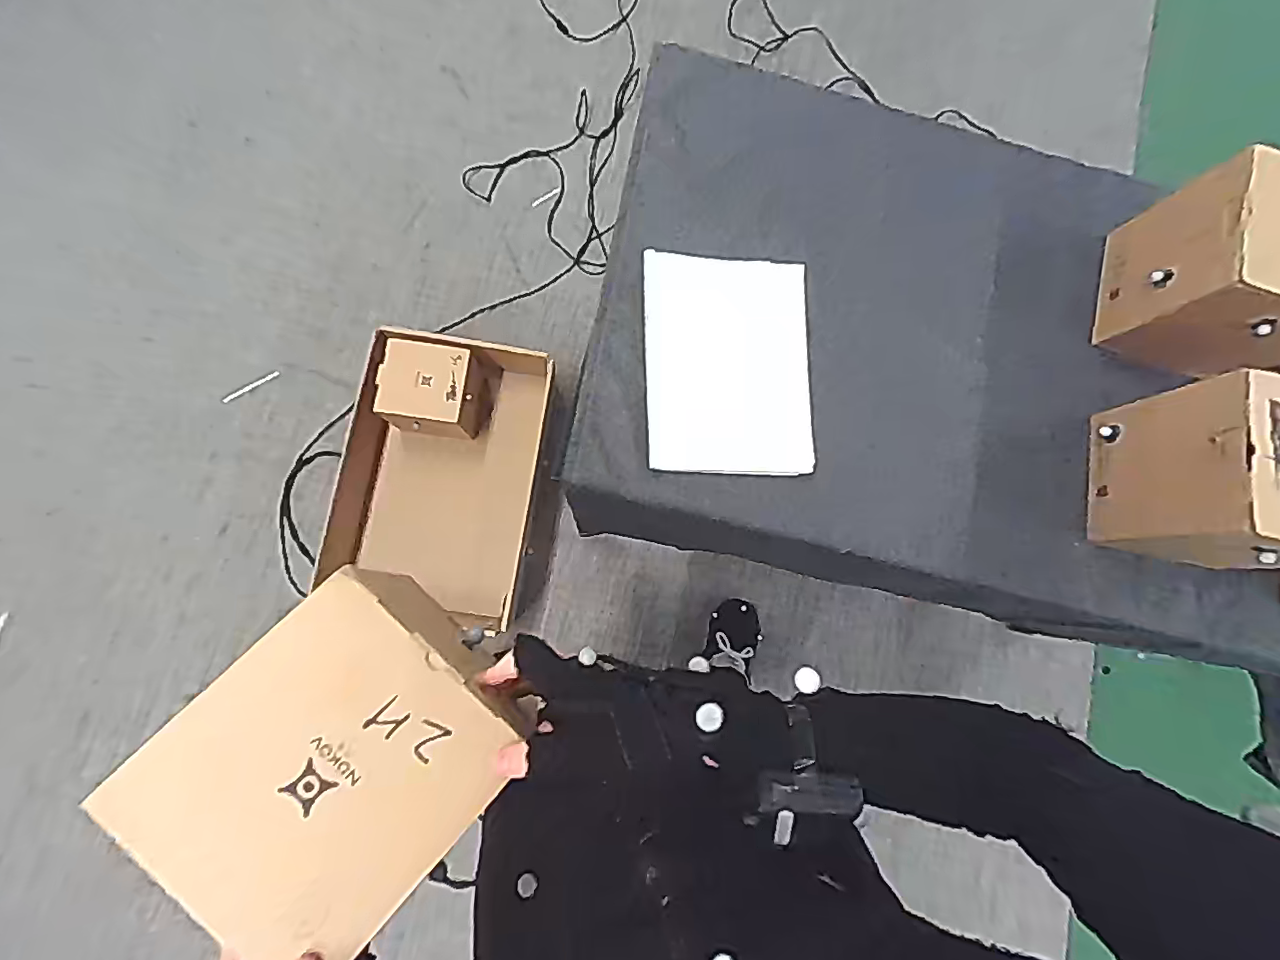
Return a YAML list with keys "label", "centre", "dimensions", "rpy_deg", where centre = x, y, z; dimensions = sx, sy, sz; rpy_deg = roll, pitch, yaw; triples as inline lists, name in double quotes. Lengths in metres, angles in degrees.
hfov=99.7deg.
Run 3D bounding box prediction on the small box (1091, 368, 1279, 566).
- label: "small box"
  centre: [0.645, -0.001, 0.593]
  dimensions: [0.179, 0.176, 0.168]
  rpy_deg: [12, 79, -4]
